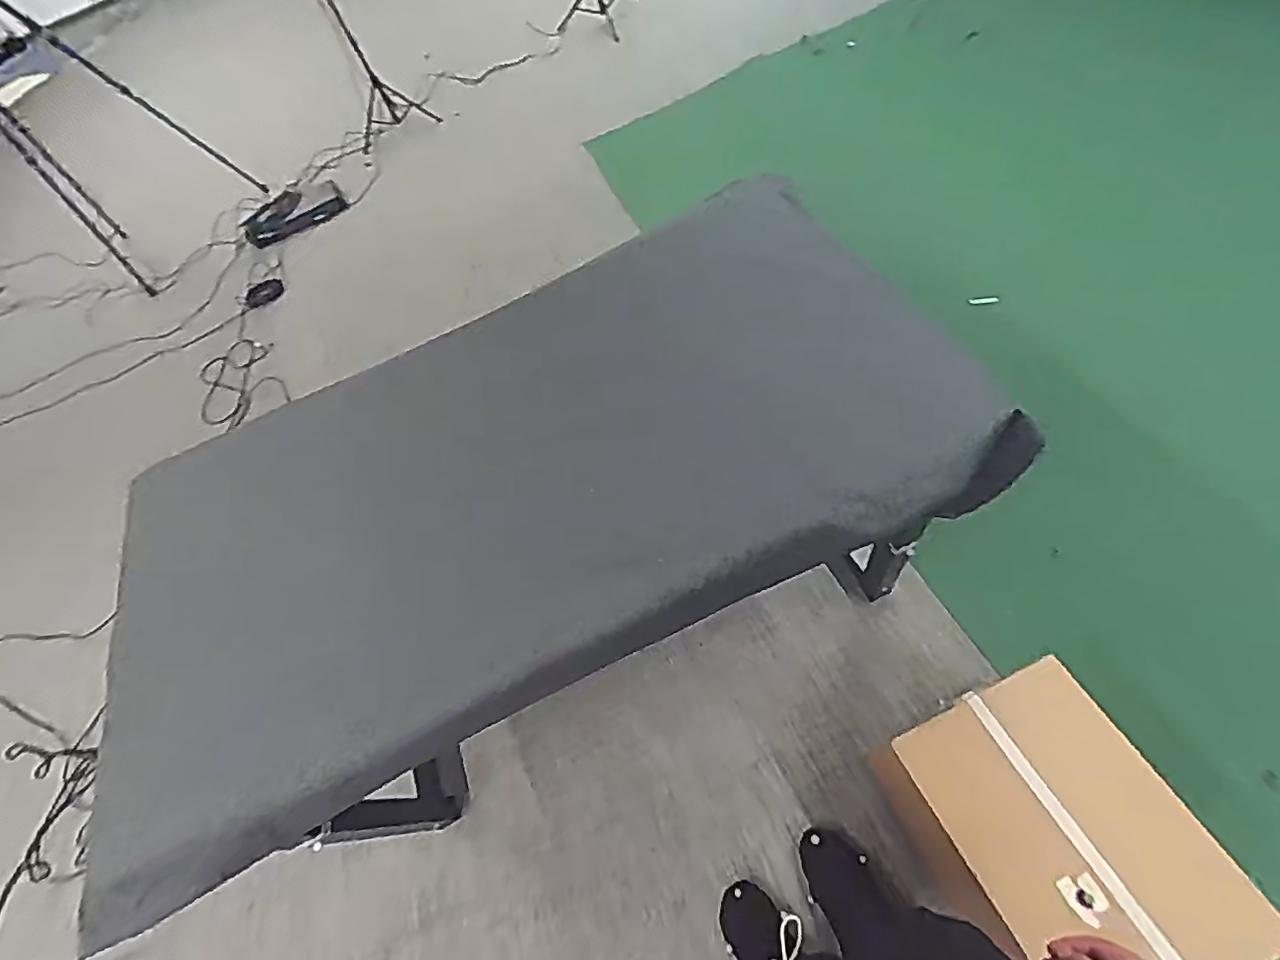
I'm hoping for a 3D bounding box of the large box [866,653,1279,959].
[{"bbox_3d":[0.655,0.570,0.910,0.320,0.320,0.408,-28,58,-2],"label":"large box"}]
